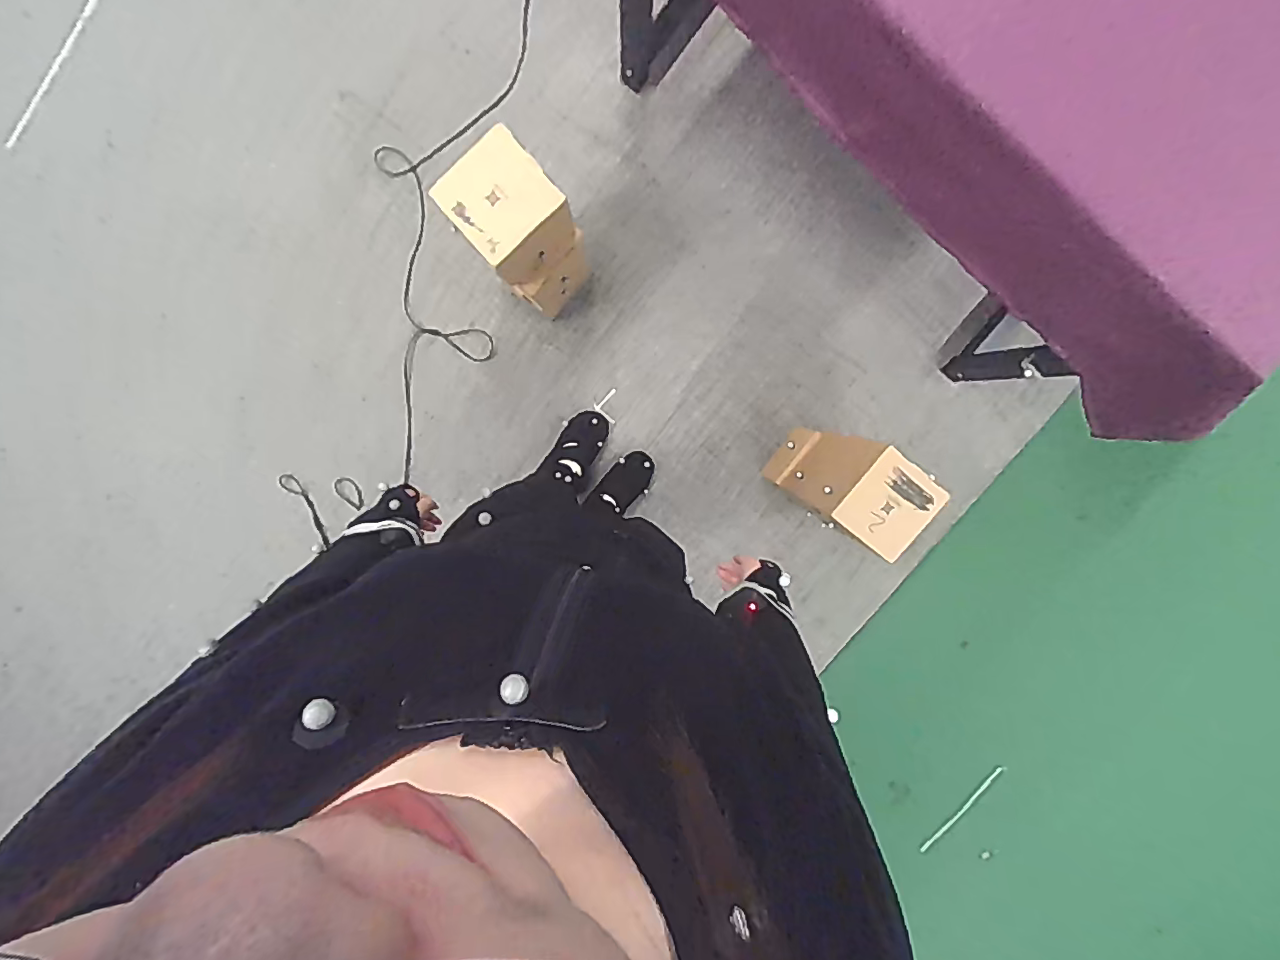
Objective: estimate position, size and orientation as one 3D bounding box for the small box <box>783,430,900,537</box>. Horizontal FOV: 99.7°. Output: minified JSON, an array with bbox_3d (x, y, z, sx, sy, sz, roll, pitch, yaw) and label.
[{"bbox_3d":[0.461,0.002,1.276,0.168,0.176,0.179,39,95,-9],"label":"small box"}]

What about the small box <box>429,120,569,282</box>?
[{"bbox_3d":[-0.246,-0.499,0.996,0.179,0.176,0.168,-41,98,3],"label":"small box"}]

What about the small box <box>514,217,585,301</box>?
[{"bbox_3d":[-0.236,-0.510,1.162,0.179,0.176,0.168,41,96,-8],"label":"small box"}]

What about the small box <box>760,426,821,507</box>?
[{"bbox_3d":[0.447,-0.030,1.436,0.179,0.176,0.168,37,96,-8],"label":"small box"}]
